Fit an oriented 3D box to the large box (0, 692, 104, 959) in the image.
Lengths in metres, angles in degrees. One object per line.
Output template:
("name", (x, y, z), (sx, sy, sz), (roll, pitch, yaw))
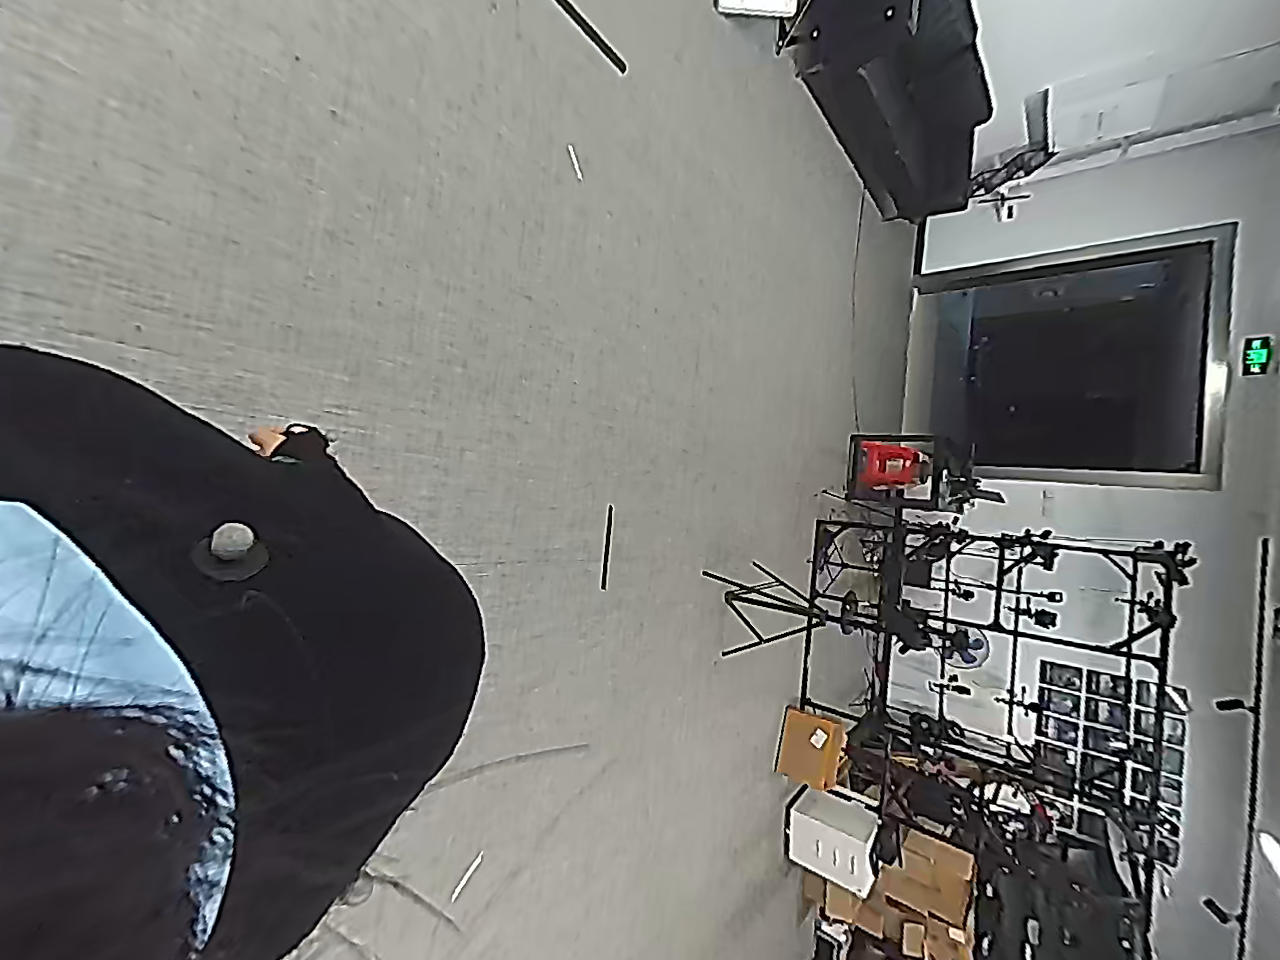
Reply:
("large box", (-1.022, 0.533, 0.727), (0.408, 0.320, 0.320), (2, 91, -51))
